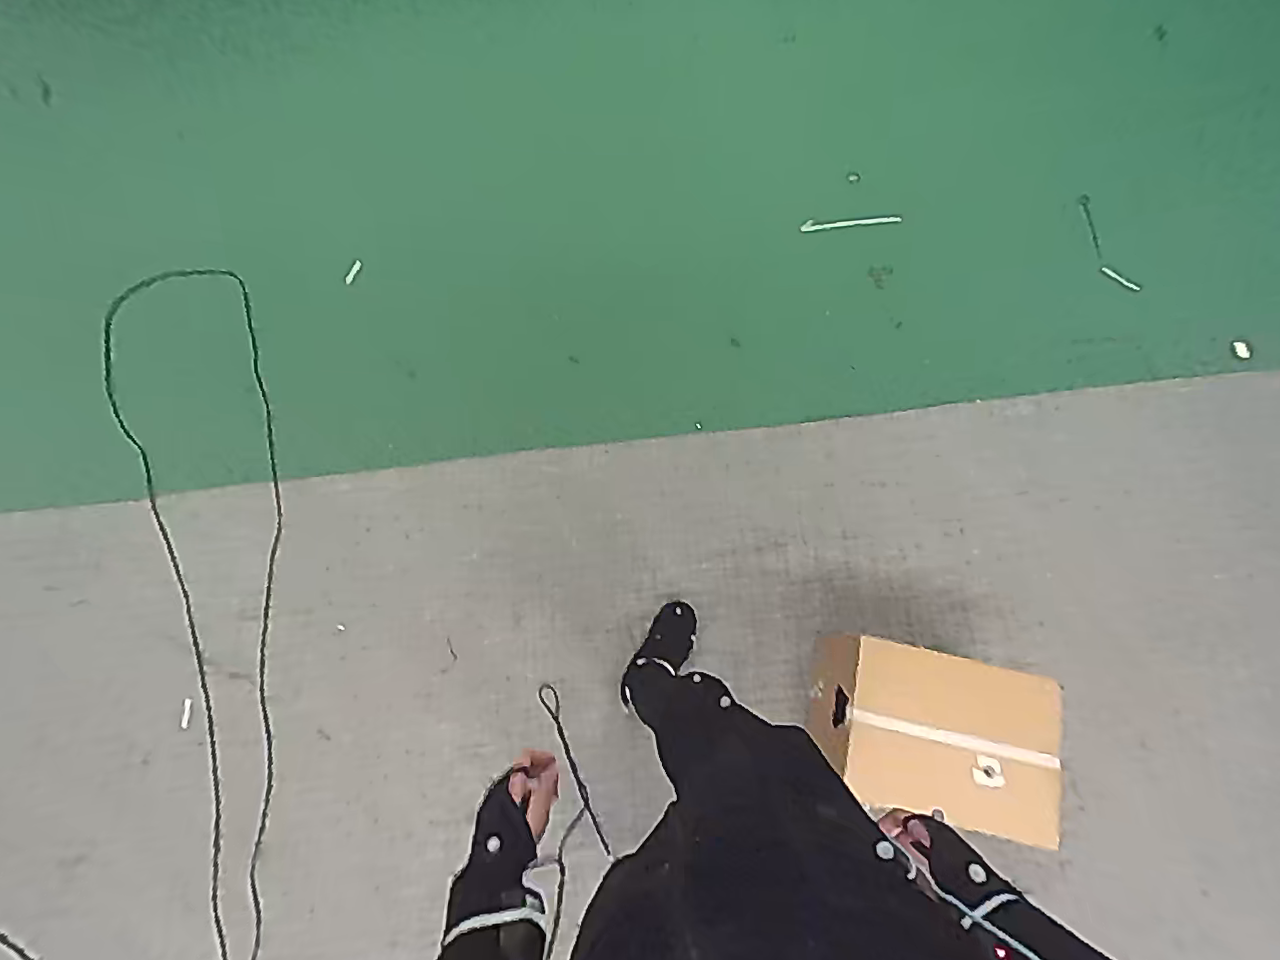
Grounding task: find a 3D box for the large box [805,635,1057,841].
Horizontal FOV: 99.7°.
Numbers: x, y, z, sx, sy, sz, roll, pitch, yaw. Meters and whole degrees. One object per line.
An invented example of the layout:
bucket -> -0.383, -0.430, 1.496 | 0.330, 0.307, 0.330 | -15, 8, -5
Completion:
large box -> 0.621, 0.544, 1.215 | 0.408, 0.320, 0.320 | 12, 75, 5
